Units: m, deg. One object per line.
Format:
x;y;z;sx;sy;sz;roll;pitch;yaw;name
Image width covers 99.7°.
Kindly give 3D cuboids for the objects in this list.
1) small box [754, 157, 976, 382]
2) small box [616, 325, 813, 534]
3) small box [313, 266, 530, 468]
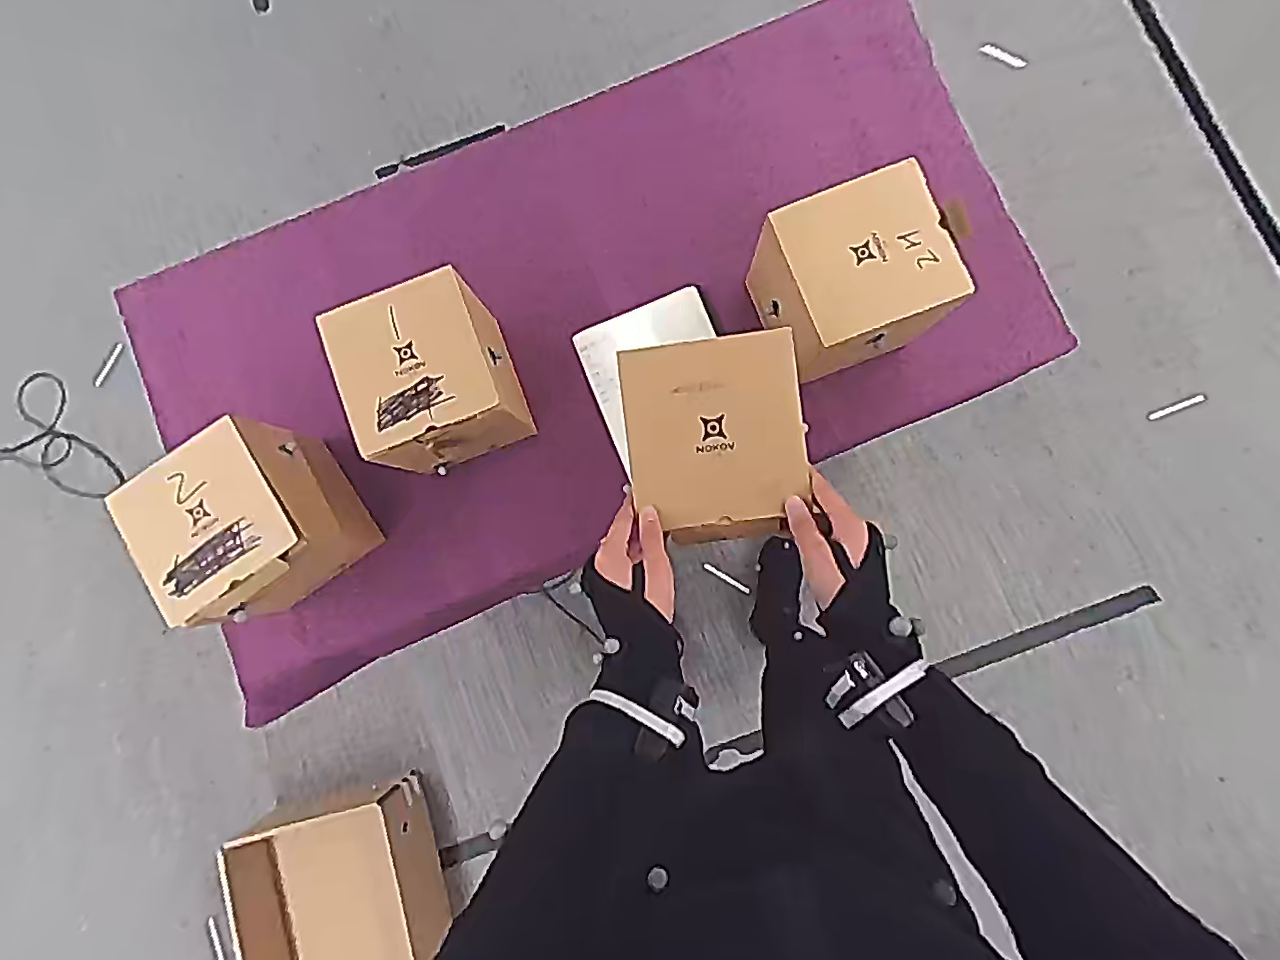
0.249;-0.236;0.653;0.179;0.176;0.168;-20;84;1;small box
0.072;-0.046;0.572;0.168;0.176;0.179;-7;89;3;small box
-0.252;-0.121;0.666;0.168;0.176;0.179;-21;83;0;small box
